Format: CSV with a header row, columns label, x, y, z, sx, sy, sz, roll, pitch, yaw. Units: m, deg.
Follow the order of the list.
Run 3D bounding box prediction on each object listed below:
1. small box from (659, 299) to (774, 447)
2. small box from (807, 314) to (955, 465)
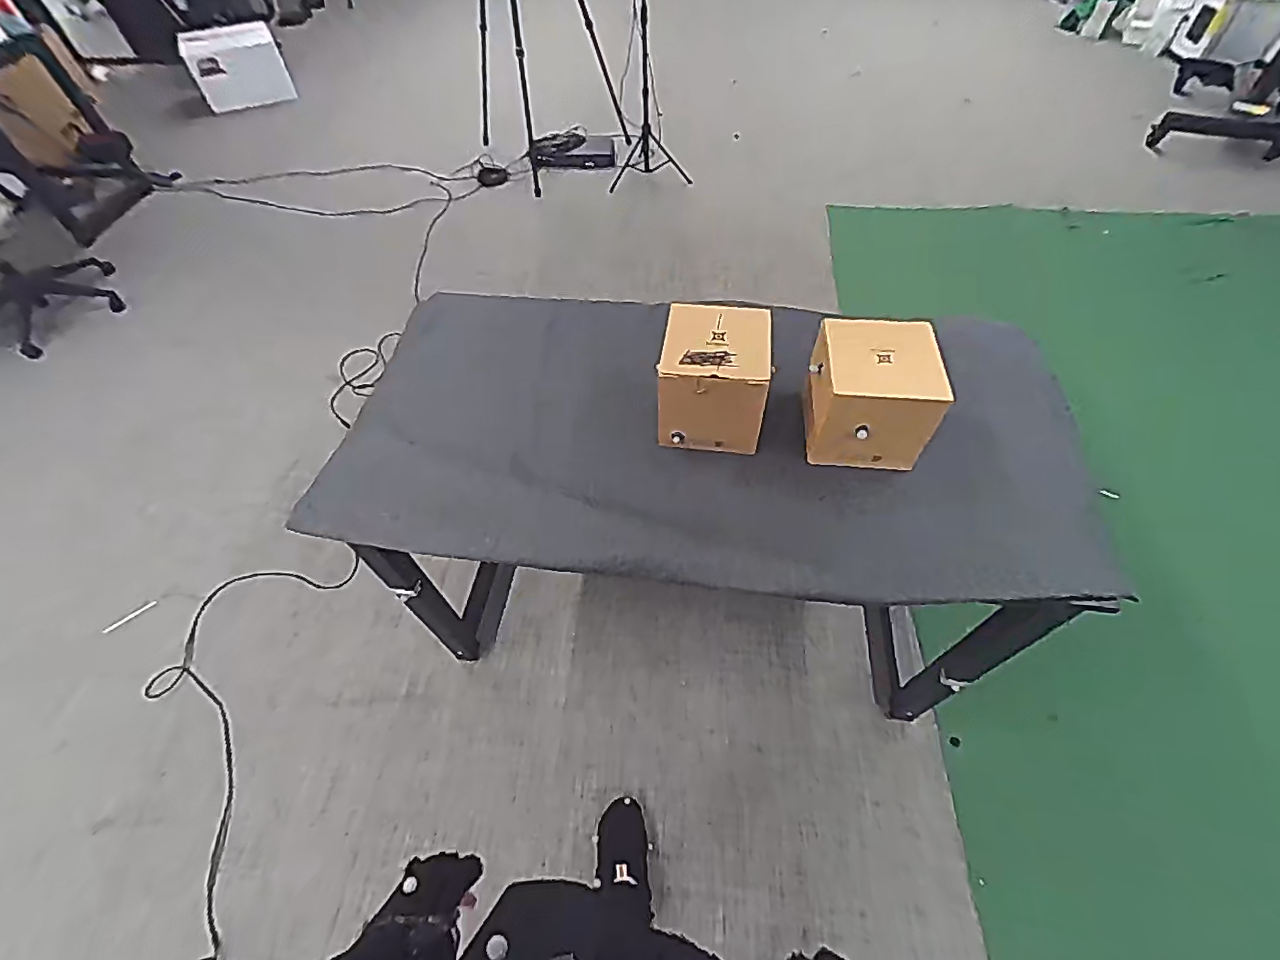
label,x,y,z,sx,sy,sz,roll,pitch,yaw
small box,0.126,-0.173,0.897,0.168,0.176,0.179,6,54,7
small box,0.369,-0.140,0.864,0.168,0.176,0.179,4,54,6
